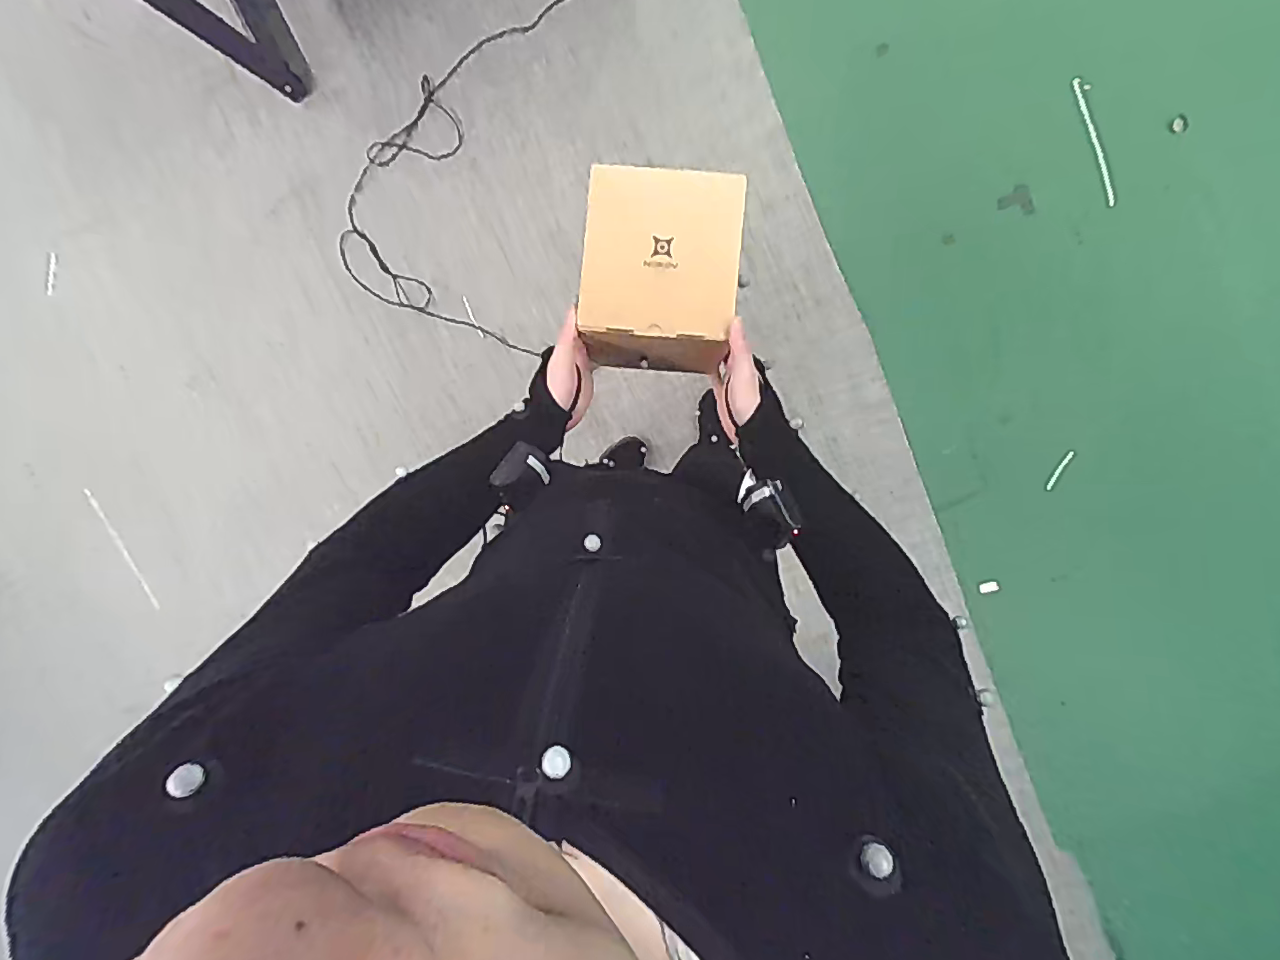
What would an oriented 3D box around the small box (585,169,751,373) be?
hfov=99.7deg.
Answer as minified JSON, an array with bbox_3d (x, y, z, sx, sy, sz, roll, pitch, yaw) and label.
[{"bbox_3d":[0.029,-0.234,0.646,0.168,0.176,0.179,4,92,0],"label":"small box"}]
